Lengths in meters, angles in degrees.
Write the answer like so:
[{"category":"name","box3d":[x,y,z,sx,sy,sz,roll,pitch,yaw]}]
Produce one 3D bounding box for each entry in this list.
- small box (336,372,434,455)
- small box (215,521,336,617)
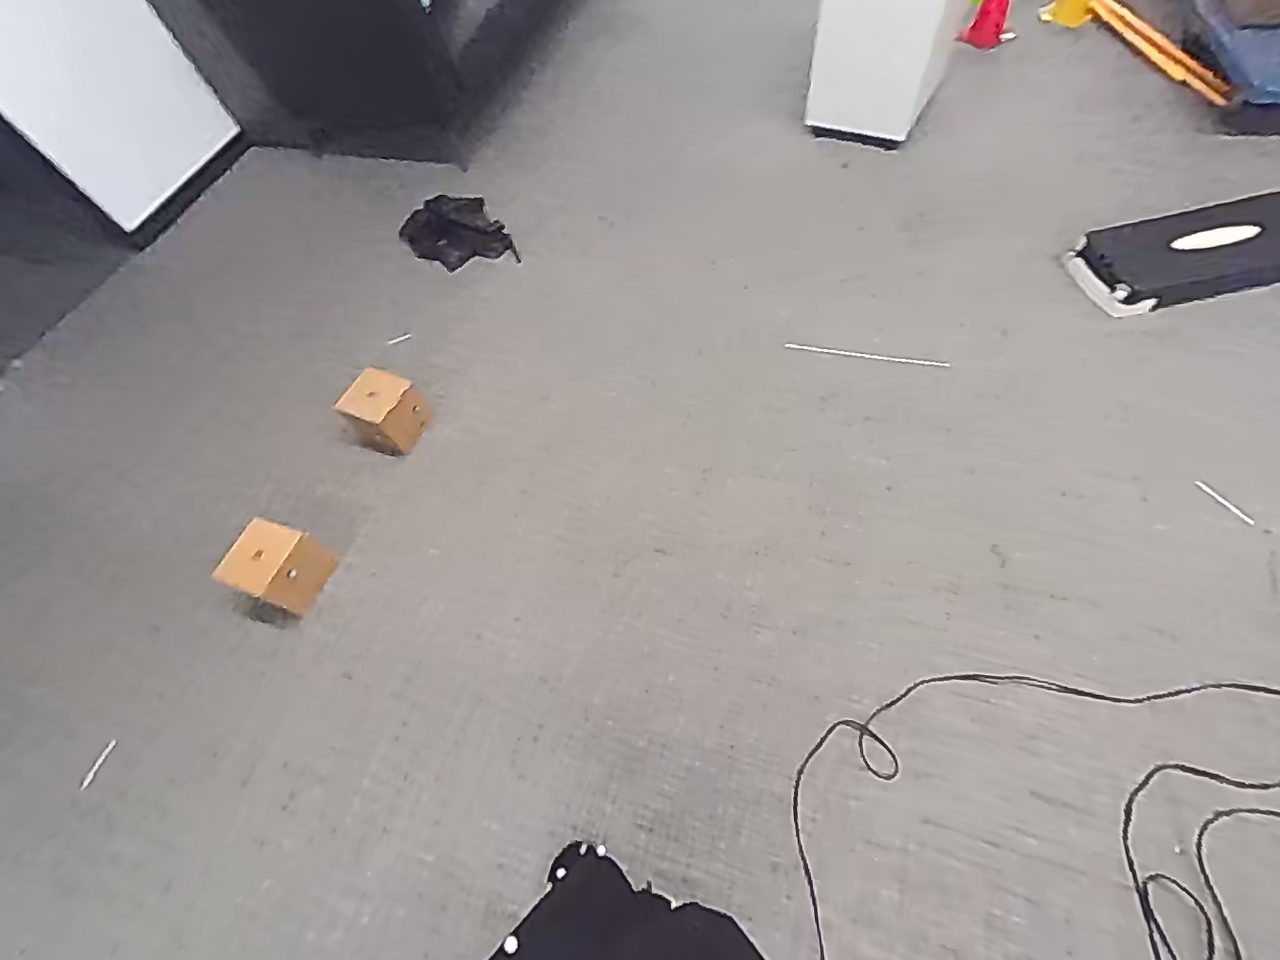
[{"category":"small box","box3d":[-0.768,-0.198,1.653,0.179,0.176,0.168,17,63,18]},{"category":"small box","box3d":[-0.945,0.238,1.426,0.168,0.176,0.179,14,64,15]}]
